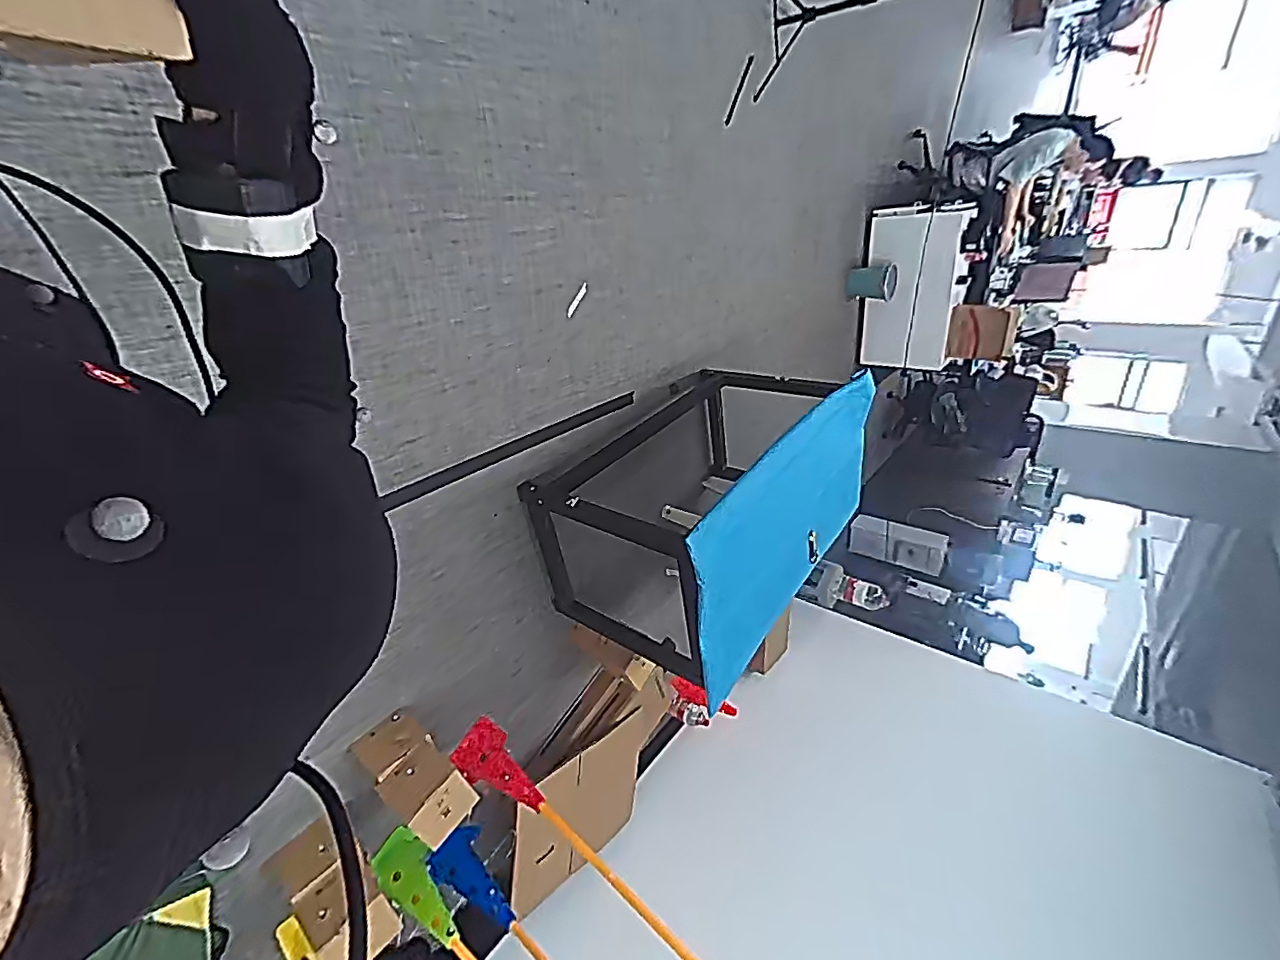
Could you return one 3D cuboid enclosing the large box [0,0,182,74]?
[{"bbox_3d":[-0.453,-0.325,0.137,0.408,0.320,0.320,-28,134,-43],"label":"large box"}]
